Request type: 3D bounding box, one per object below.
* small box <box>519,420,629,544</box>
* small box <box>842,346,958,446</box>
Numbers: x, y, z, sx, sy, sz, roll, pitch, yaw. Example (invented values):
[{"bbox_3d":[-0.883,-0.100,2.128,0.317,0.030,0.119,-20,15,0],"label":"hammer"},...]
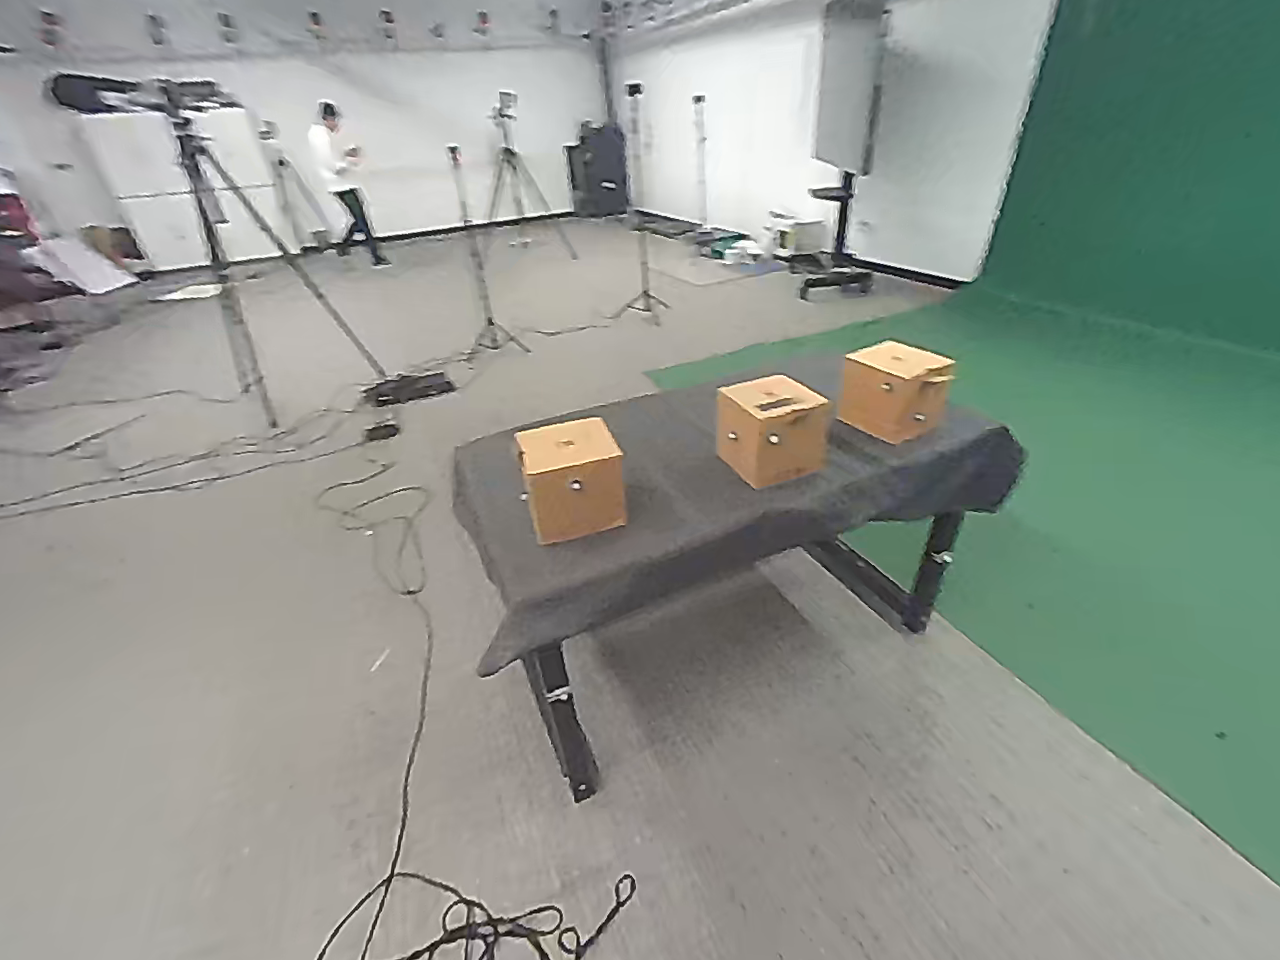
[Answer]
[{"bbox_3d":[-0.129,0.004,1.066,0.179,0.176,0.168,-12,35,-14],"label":"small box"},{"bbox_3d":[0.612,-0.203,1.297,0.168,0.176,0.179,-20,37,-22],"label":"small box"}]
